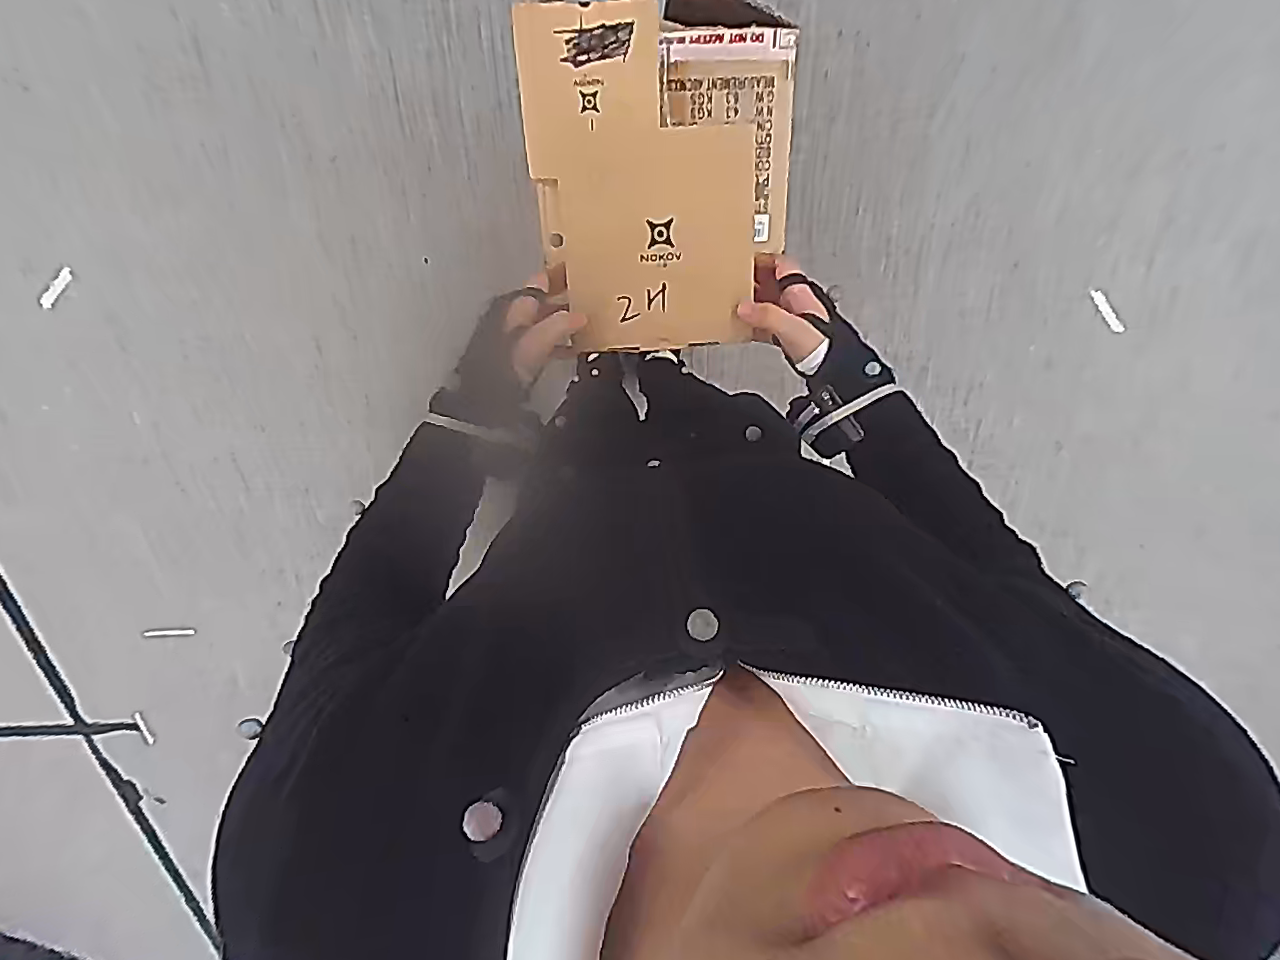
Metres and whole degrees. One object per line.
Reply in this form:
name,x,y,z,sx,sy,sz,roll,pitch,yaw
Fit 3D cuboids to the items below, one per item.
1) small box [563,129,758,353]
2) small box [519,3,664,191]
small box,0.016,-0.229,0.545,0.168,0.176,0.179,-4,110,-1
small box,-0.054,-0.485,0.710,0.168,0.176,0.179,-2,116,1
